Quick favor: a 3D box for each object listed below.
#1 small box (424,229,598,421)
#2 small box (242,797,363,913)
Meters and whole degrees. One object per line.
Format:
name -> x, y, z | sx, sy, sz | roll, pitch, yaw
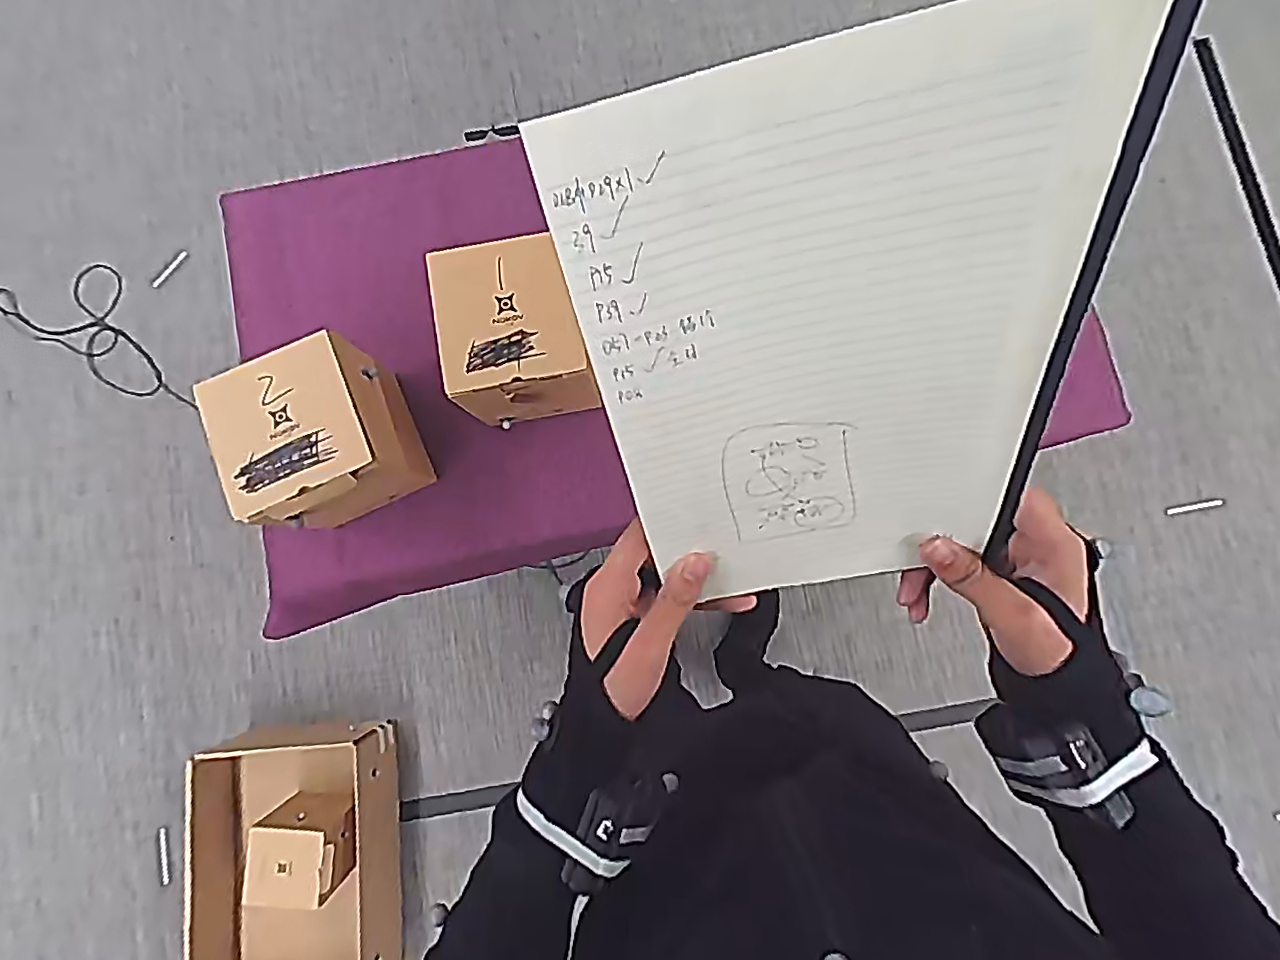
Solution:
small box -> -0.152, -0.181, 0.690 | 0.168, 0.176, 0.179 | -10, 83, 0
small box -> -0.781, 0.870, 1.269 | 0.179, 0.176, 0.168 | 3, 84, 1
